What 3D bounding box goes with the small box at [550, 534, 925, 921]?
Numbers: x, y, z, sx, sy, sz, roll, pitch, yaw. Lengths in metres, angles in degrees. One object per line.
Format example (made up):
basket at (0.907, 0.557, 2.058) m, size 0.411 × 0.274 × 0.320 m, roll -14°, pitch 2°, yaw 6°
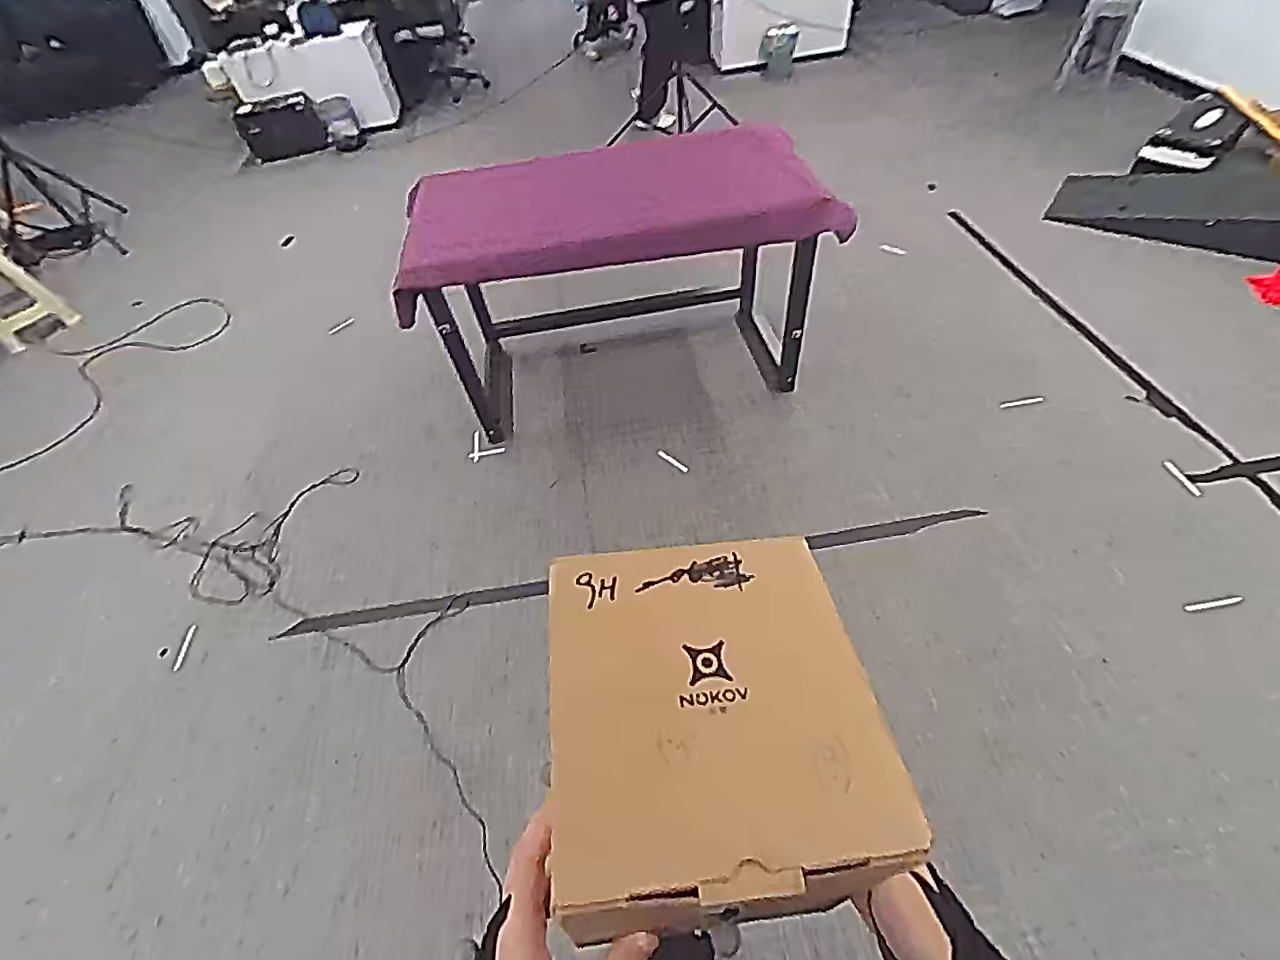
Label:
small box at (0.035, 0.157, 0.341) m, size 0.168 × 0.176 × 0.179 m, roll -3°, pitch 46°, yaw -6°
